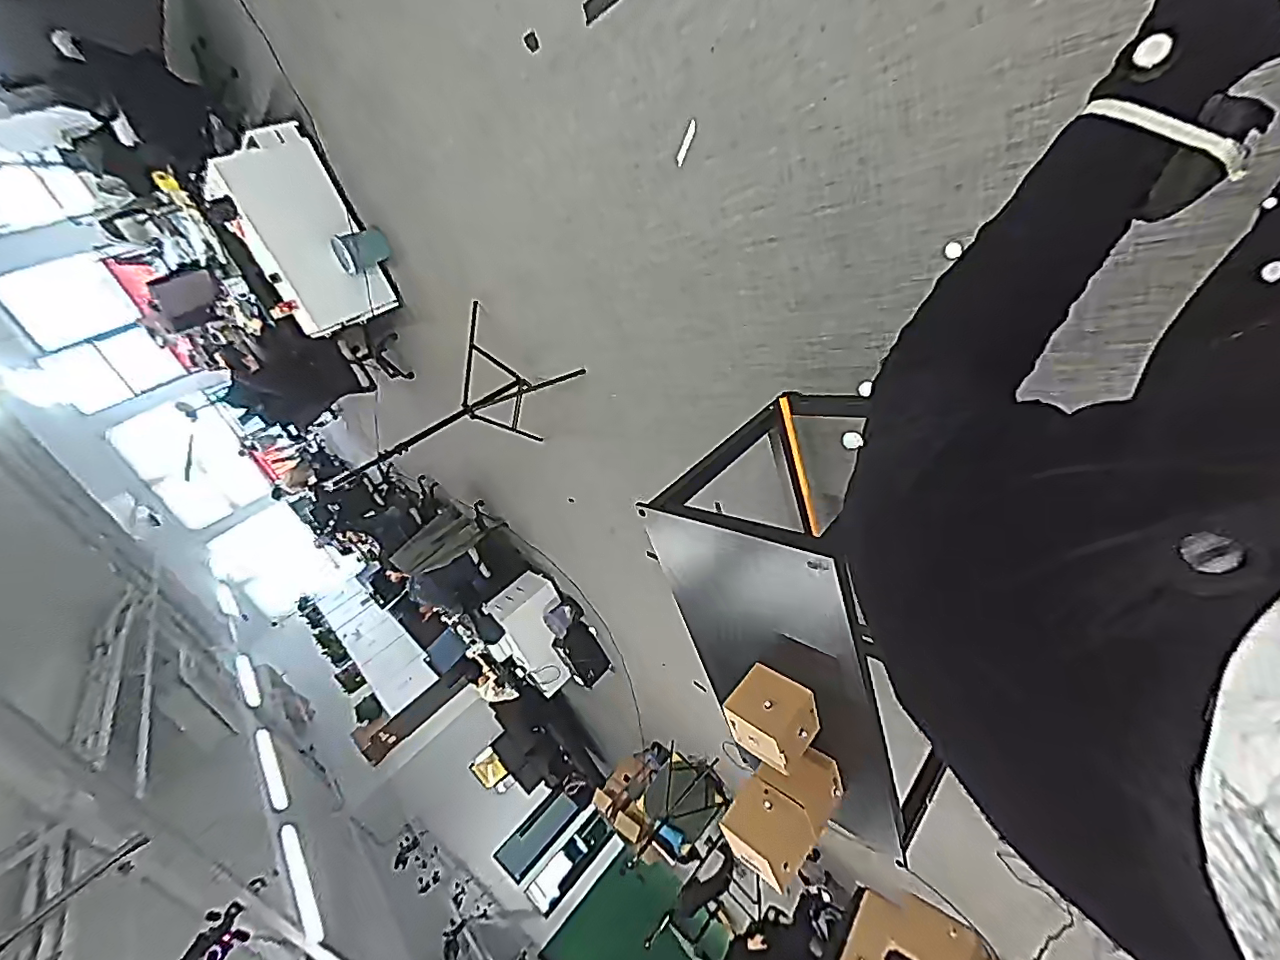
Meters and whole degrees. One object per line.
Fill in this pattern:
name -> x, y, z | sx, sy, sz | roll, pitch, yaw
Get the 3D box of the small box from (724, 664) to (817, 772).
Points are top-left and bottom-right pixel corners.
small box -> 0.357, 0.630, 1.453 | 0.179, 0.176, 0.168 | 16, 135, 46

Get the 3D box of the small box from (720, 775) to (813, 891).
small box -> 0.355, 0.967, 1.493 | 0.168, 0.176, 0.179 | 11, 132, 49

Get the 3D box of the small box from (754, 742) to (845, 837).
small box -> 0.467, 0.877, 1.575 | 0.179, 0.176, 0.168 | 12, 133, 48
